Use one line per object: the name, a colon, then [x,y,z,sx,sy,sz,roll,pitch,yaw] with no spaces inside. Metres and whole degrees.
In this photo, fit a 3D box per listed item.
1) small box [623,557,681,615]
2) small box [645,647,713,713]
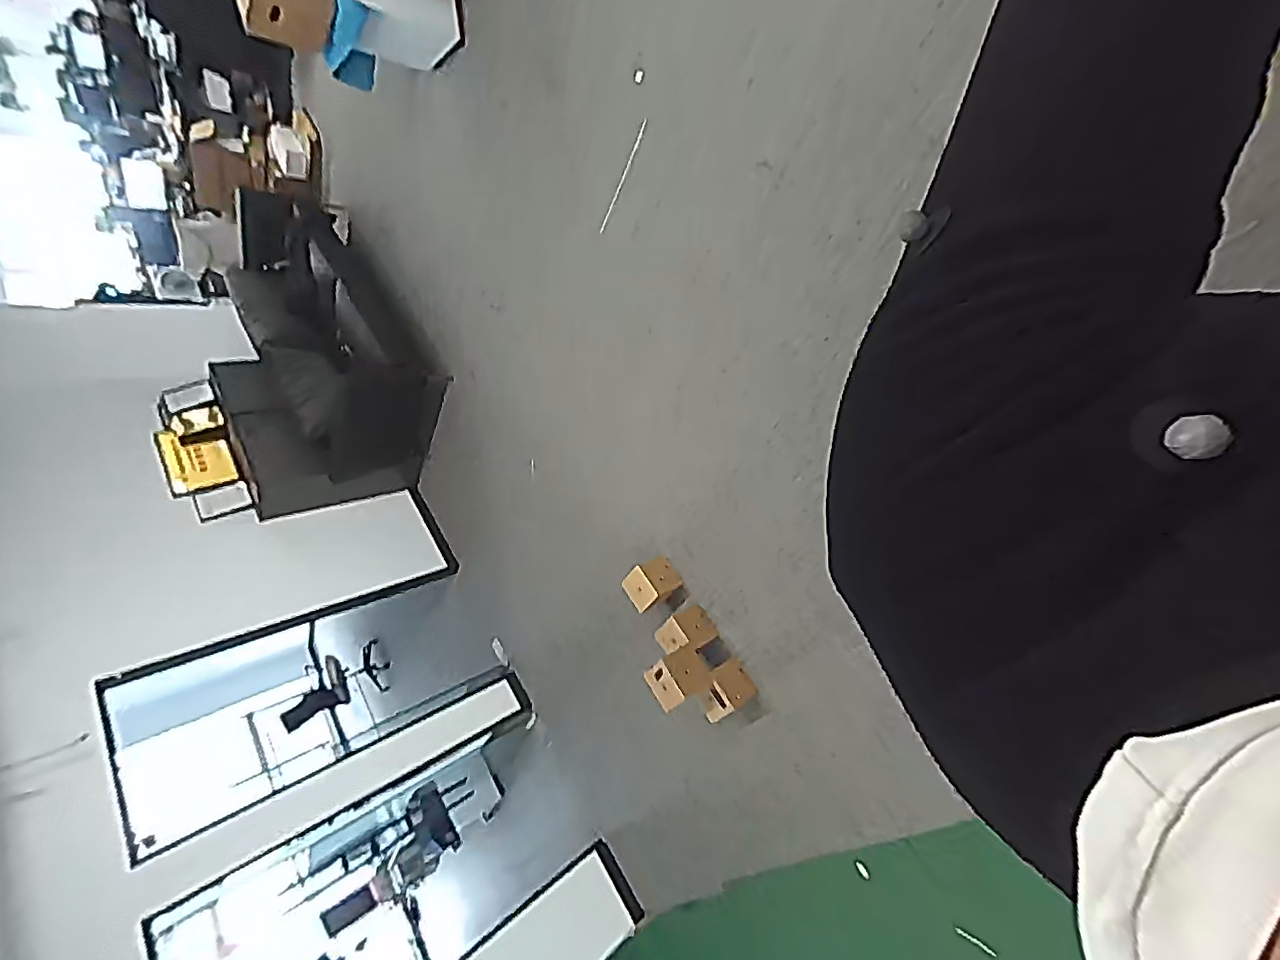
small box: [0.061,0.472,2.435,0.168,0.176,0.179,54,134,21]
small box: [0.159,0.798,2.176,0.179,0.176,0.168,55,135,20]
